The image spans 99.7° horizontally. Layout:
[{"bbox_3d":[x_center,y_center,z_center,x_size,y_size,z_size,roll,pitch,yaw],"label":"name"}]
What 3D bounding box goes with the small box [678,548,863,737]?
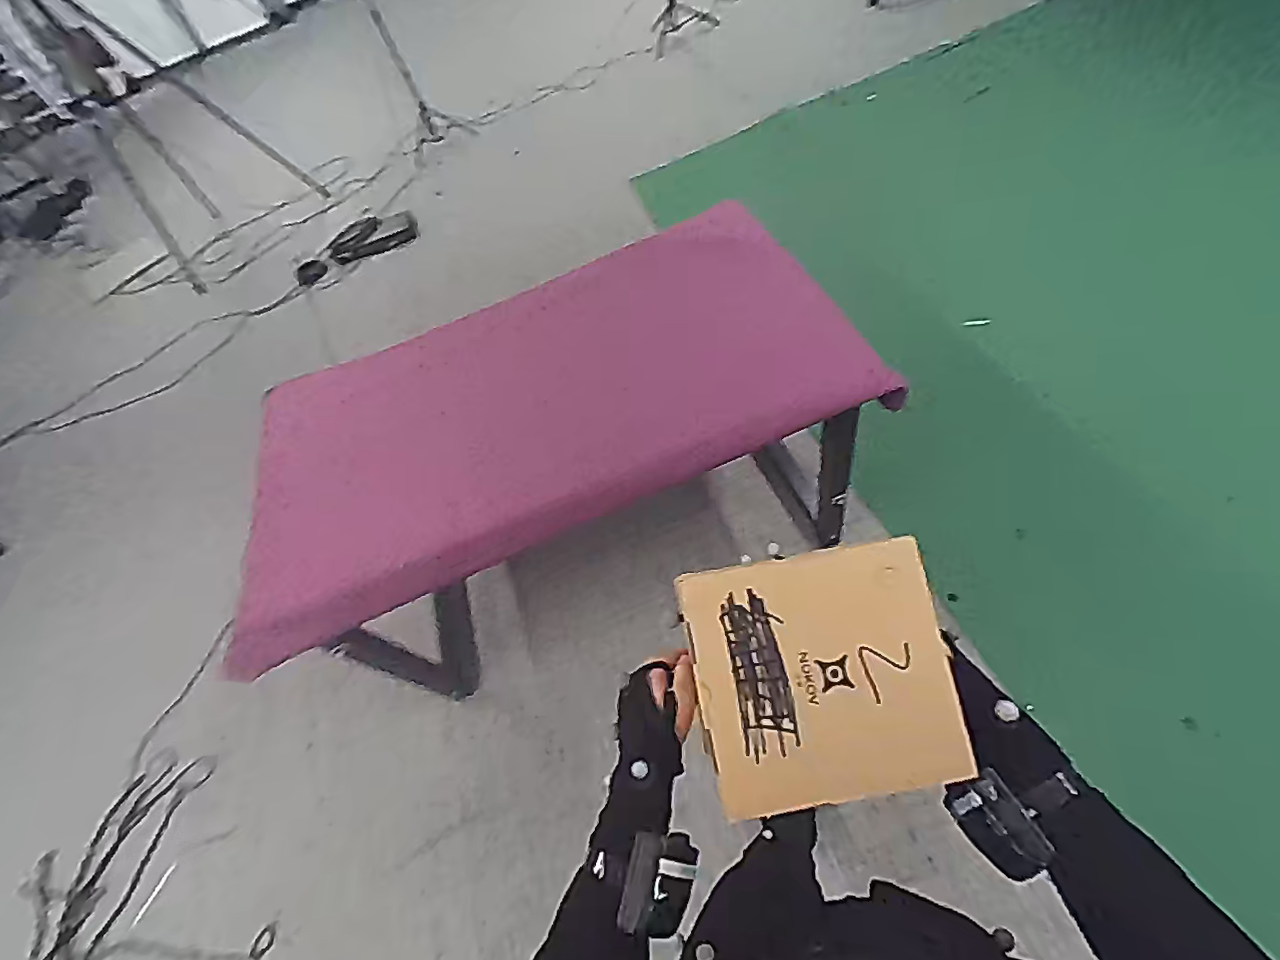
[{"bbox_3d":[0.135,0.175,0.623,0.168,0.176,0.179,-6,79,1],"label":"small box"}]
